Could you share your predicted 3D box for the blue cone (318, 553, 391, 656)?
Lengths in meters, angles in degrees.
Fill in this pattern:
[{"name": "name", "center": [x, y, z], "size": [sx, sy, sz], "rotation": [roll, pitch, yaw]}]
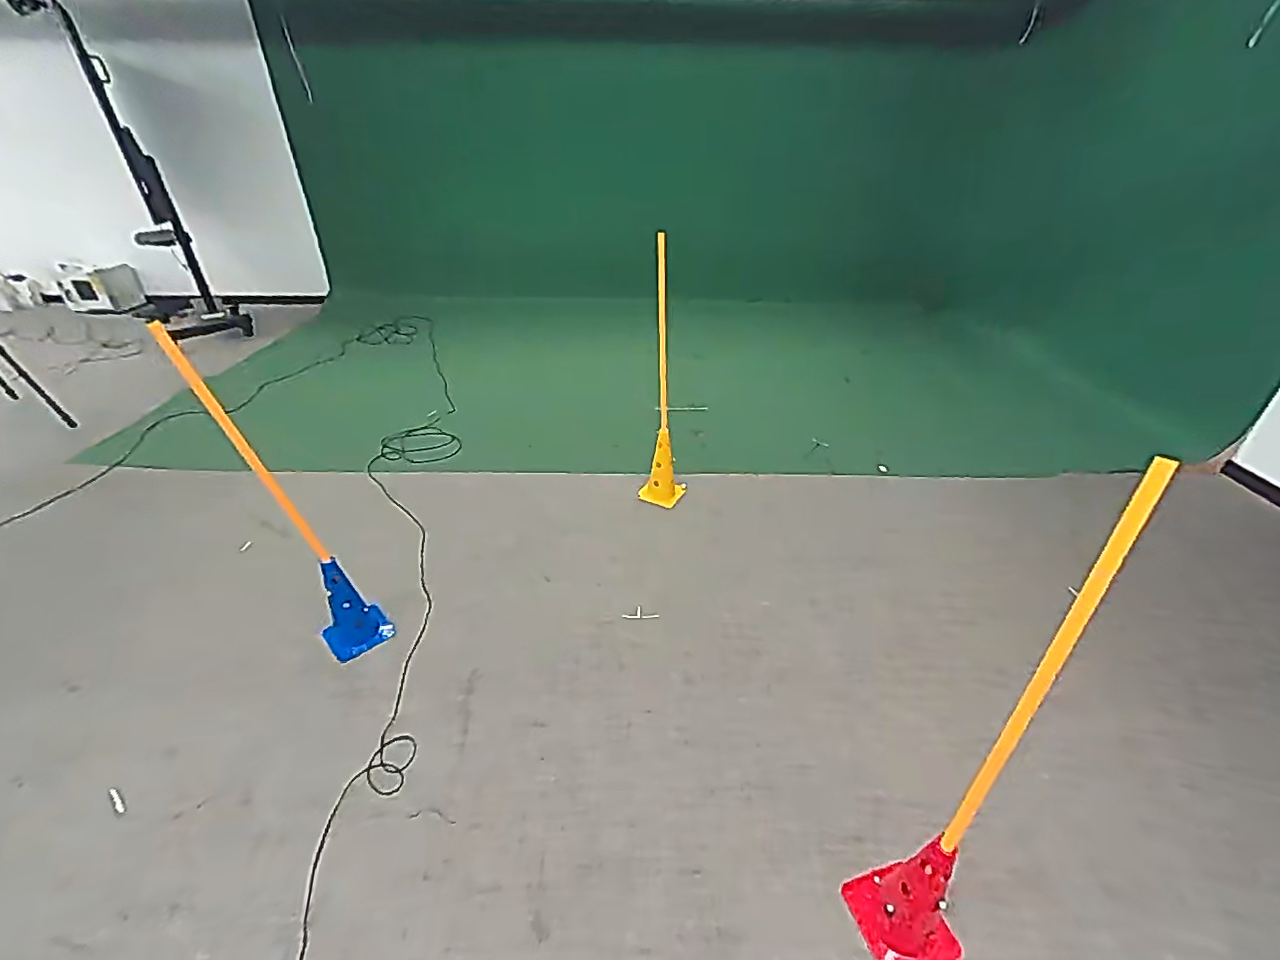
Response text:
[{"name": "blue cone", "center": [-1.012, 0.402, 1.844], "size": [0.192, 0.380, 0.193], "rotation": [30, 45, 35]}]
